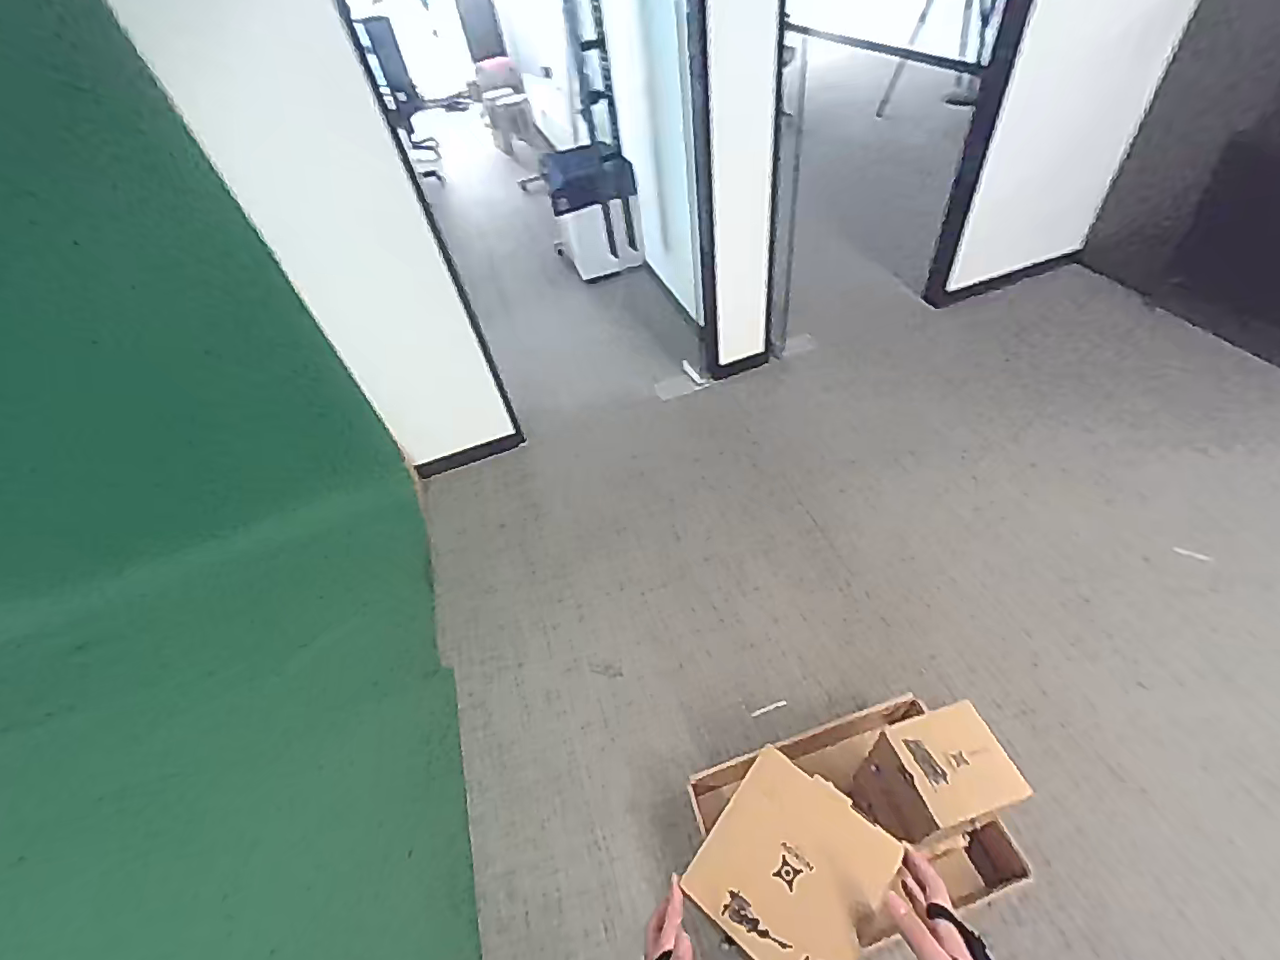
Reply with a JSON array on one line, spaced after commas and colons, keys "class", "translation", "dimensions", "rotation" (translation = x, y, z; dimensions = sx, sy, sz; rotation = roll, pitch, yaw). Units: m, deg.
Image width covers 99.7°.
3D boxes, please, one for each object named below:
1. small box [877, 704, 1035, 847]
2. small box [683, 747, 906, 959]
[{"class": "small box", "translation": [0.556, 0.542, 0.986], "dimensions": [0.179, 0.176, 0.168], "rotation": [-16, 48, -5]}, {"class": "small box", "translation": [0.163, 0.448, 0.606], "dimensions": [0.168, 0.176, 0.179], "rotation": [29, 56, 30]}]
